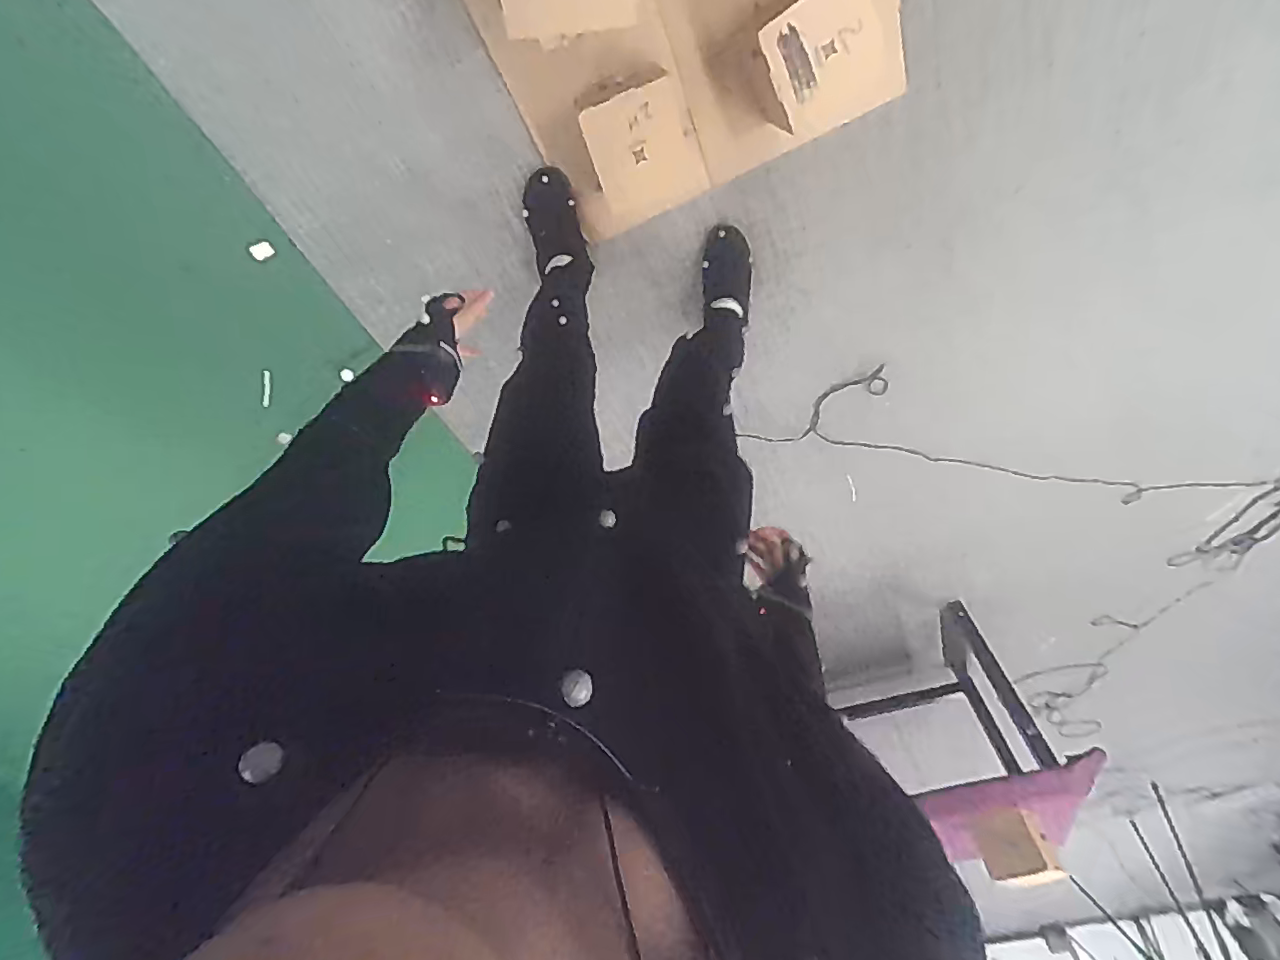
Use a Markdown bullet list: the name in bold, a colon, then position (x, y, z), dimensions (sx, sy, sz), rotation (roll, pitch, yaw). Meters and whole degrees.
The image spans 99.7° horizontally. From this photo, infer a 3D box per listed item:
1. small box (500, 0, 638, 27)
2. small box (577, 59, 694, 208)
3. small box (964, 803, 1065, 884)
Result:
- **small box**: position (-0.100, -0.706, 0.706), dimensions (0.179, 0.176, 0.168), rotation (-7, 131, 0)
- **small box**: position (-0.007, -0.636, 0.992), dimensions (0.168, 0.176, 0.179), rotation (-16, 131, 9)
- **small box**: position (1.171, 1.141, 1.699), dimensions (0.168, 0.176, 0.179), rotation (33, 121, -29)
